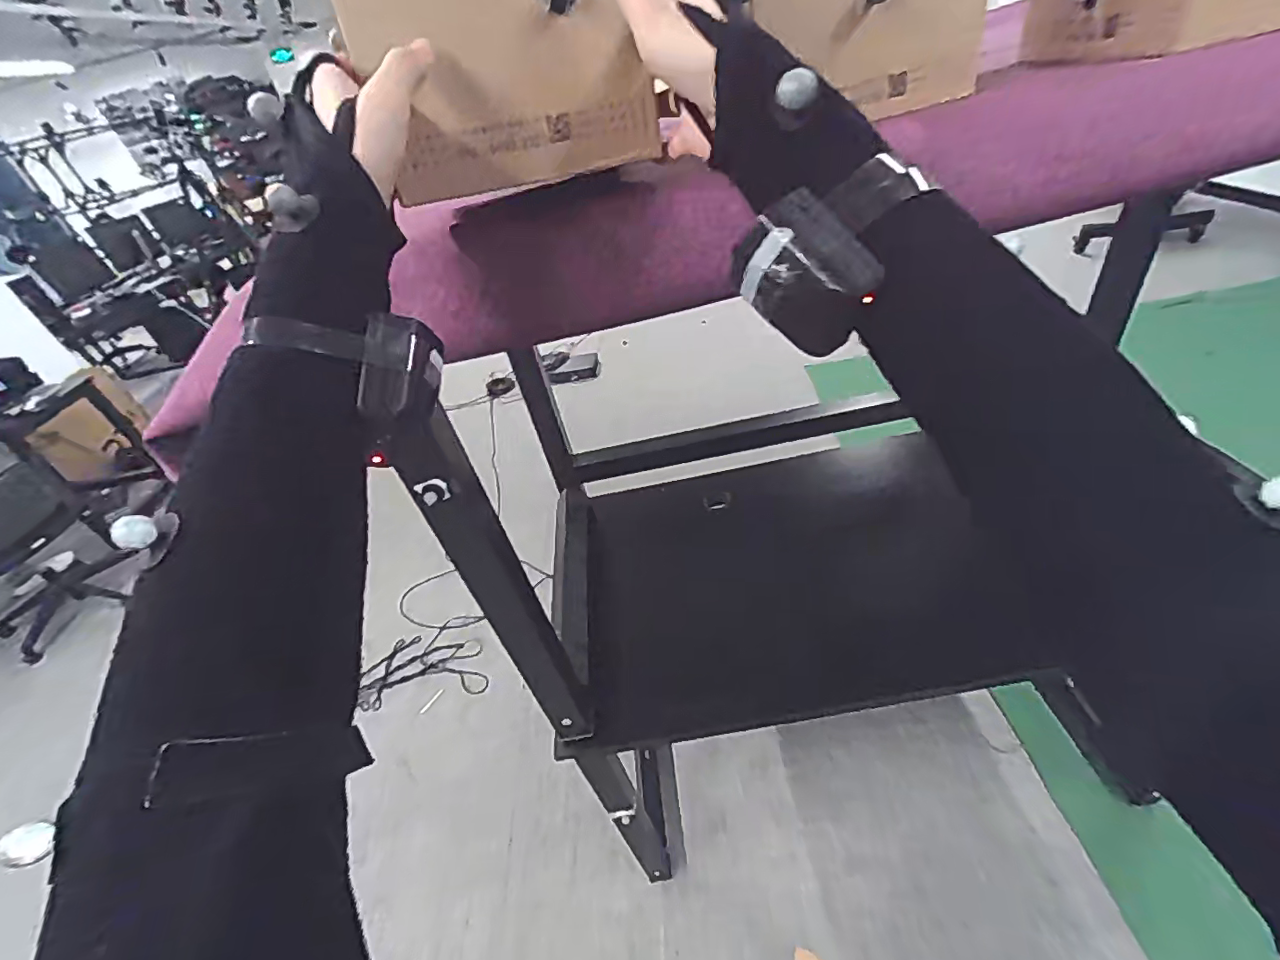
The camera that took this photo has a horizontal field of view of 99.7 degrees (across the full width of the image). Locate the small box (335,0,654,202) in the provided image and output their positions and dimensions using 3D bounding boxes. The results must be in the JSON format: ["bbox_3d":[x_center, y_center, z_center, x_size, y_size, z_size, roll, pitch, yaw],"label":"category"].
[{"bbox_3d":[-0.092,-0.293,0.364,0.168,0.176,0.179,-12,29,-5],"label":"small box"}]

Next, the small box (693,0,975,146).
[{"bbox_3d":[0.139,-0.374,0.418,0.168,0.176,0.179,-13,37,0],"label":"small box"}]
